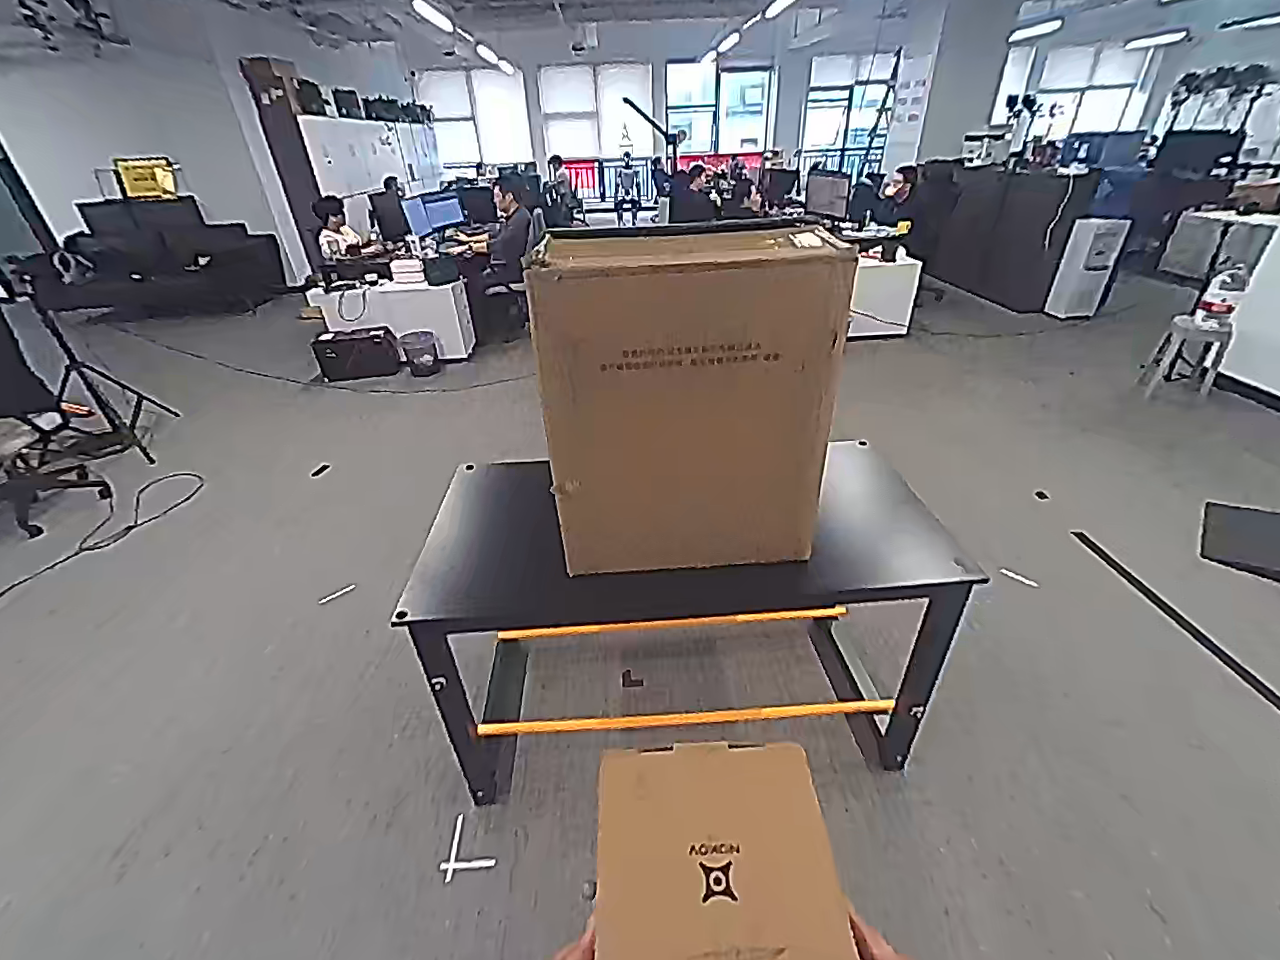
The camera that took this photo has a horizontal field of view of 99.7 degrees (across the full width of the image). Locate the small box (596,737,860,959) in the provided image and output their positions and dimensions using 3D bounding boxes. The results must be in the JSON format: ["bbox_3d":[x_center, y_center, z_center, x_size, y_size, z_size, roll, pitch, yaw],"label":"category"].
[{"bbox_3d":[0.055,0.329,0.423,0.168,0.176,0.179,-3,39,0],"label":"small box"}]
